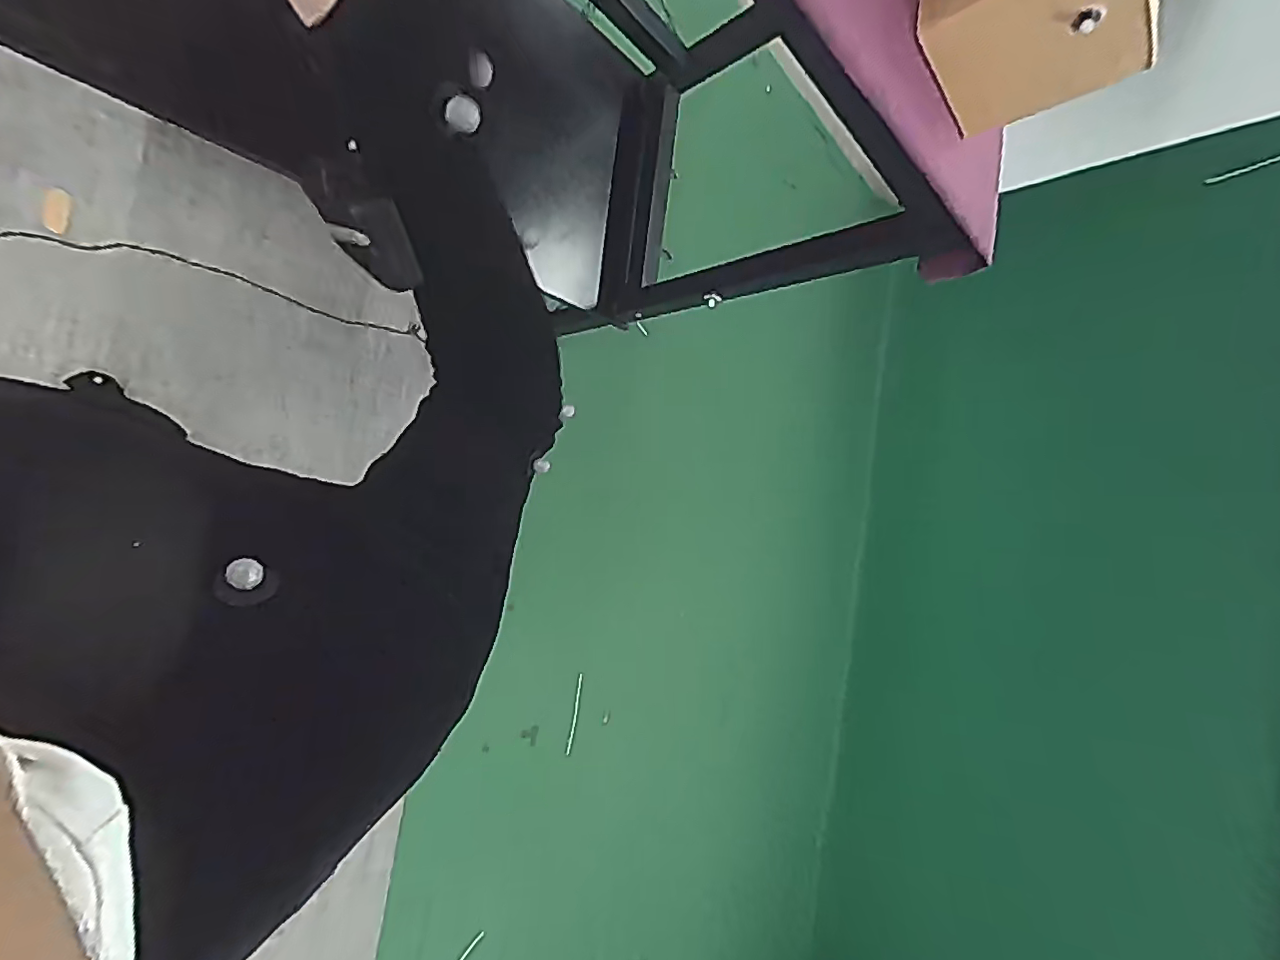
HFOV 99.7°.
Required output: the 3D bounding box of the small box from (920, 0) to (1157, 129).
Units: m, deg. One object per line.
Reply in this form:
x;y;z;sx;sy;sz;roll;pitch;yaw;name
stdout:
0.397;-0.499;0.539;0.179;0.176;0.168;13;83;-45;small box
